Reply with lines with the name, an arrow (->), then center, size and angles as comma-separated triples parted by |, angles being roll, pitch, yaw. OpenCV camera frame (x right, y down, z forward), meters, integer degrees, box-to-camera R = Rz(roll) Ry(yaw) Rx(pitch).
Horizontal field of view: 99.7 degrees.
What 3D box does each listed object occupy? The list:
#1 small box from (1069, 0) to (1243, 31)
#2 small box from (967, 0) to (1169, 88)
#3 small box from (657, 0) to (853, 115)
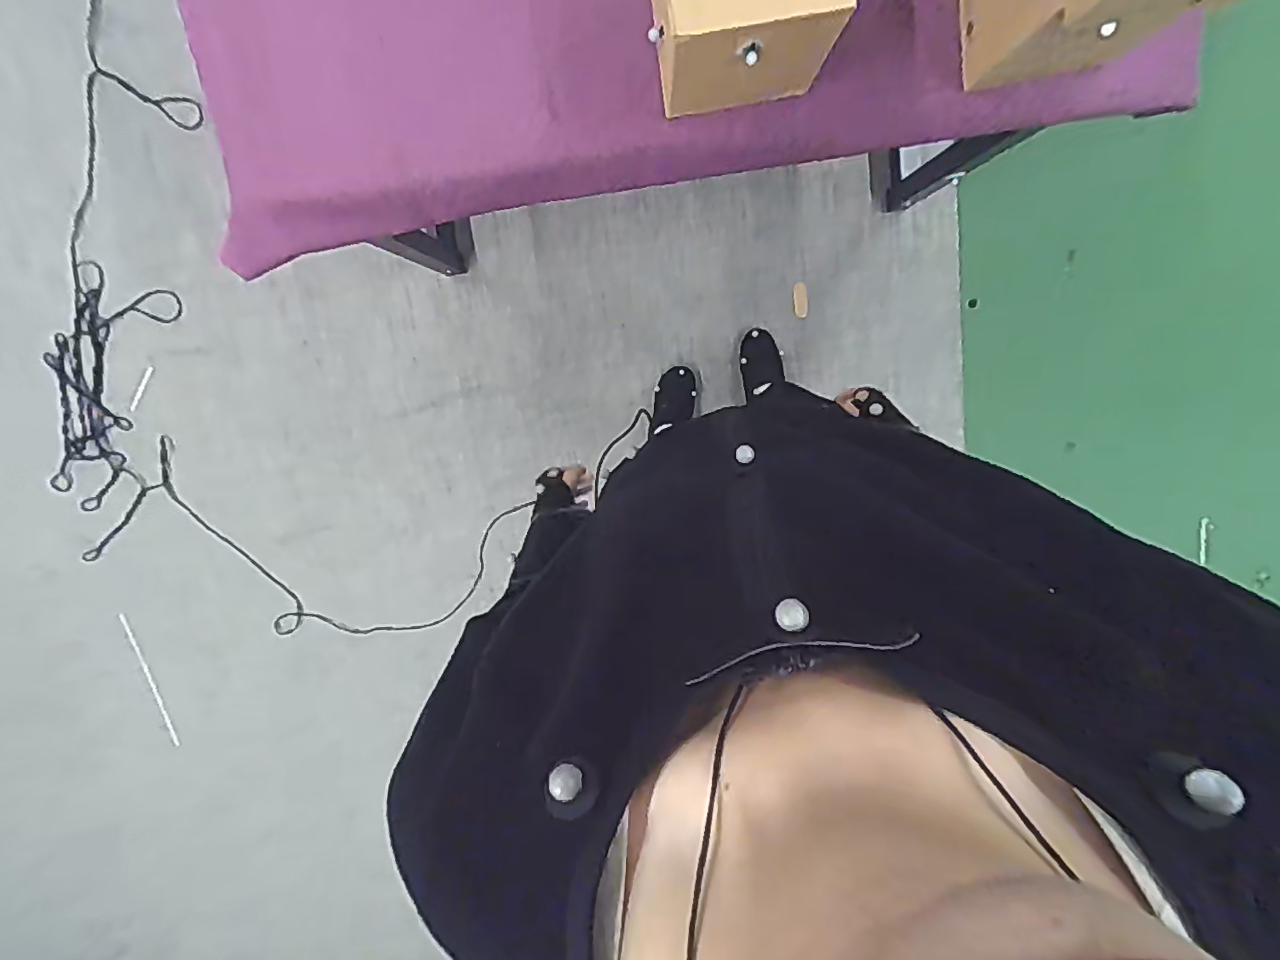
small box -> 0.463, -0.495, 0.406 | 0.168, 0.176, 0.179 | -7, 101, 4
small box -> 0.466, -0.548, 0.562 | 0.179, 0.176, 0.168 | -10, 102, 3
small box -> 0.108, -0.523, 0.577 | 0.179, 0.176, 0.168 | -7, 101, 3
